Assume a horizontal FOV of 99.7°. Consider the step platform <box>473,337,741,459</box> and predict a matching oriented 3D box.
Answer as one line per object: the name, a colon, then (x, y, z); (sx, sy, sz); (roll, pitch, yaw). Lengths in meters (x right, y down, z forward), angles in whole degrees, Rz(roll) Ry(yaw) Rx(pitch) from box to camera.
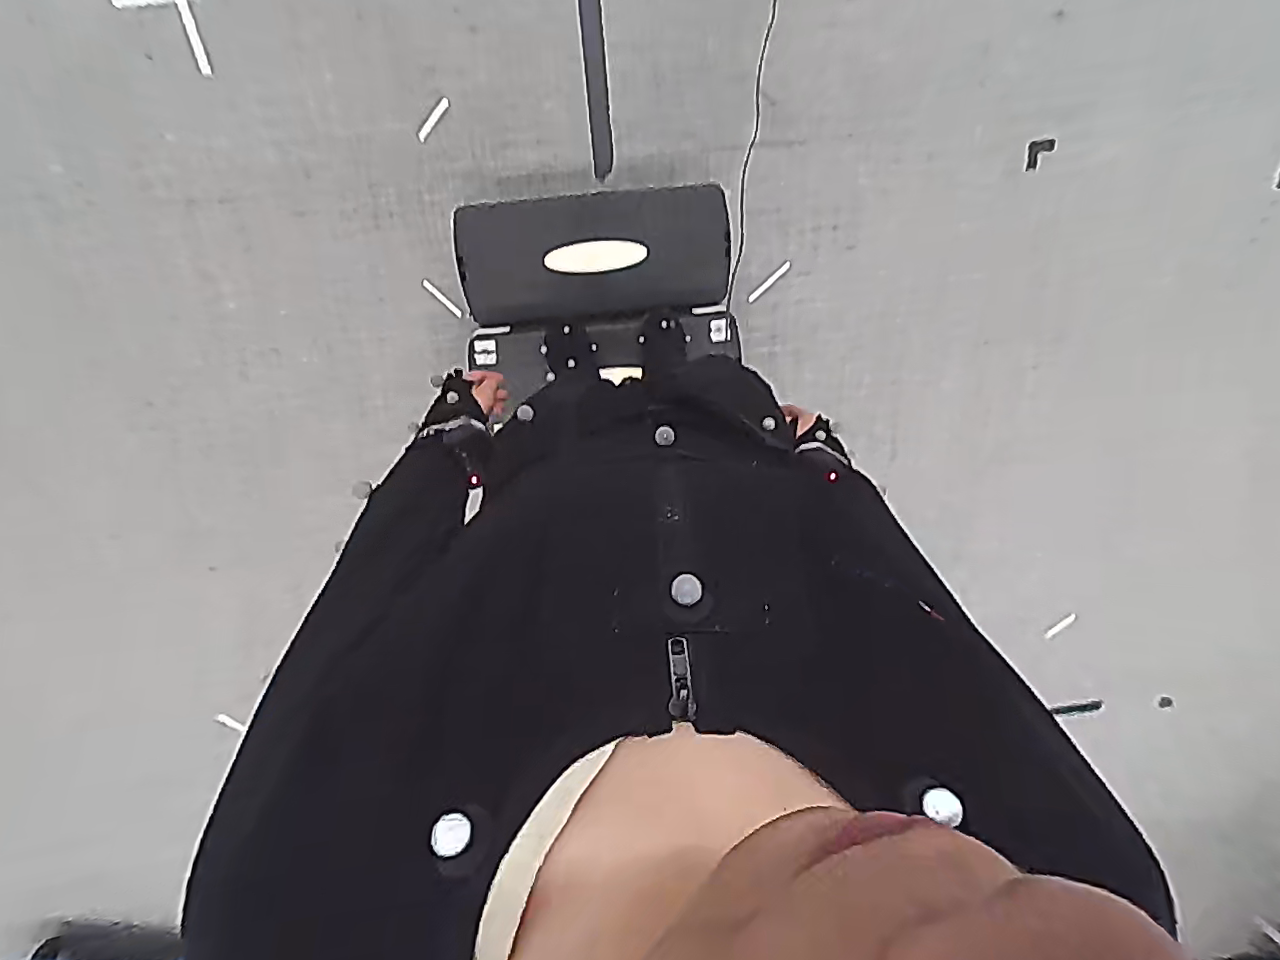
step platform: (-0.082, -0.216, 1.418); (0.684, 0.204, 0.286); (-2, 109, -3)
